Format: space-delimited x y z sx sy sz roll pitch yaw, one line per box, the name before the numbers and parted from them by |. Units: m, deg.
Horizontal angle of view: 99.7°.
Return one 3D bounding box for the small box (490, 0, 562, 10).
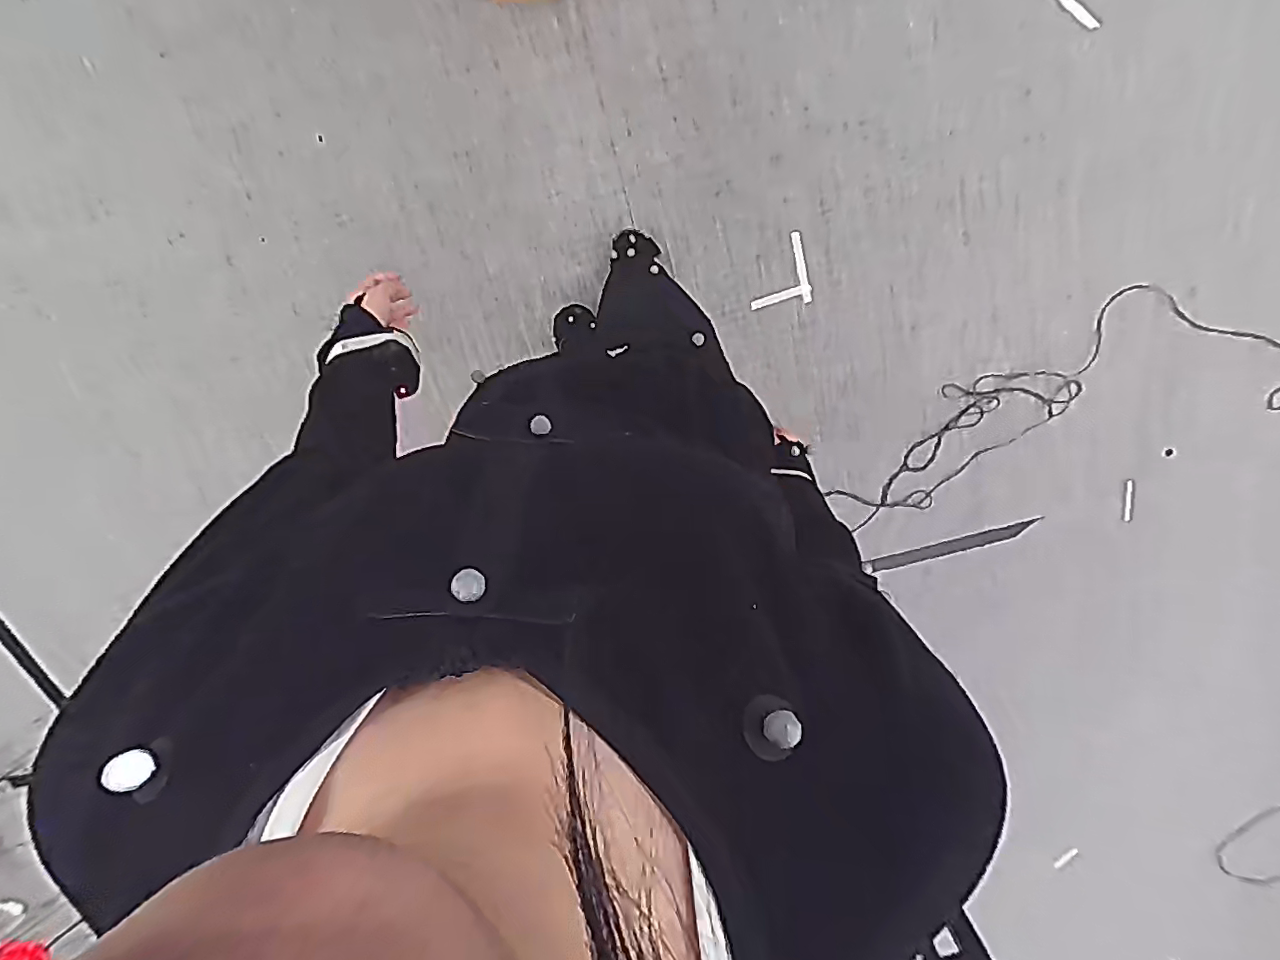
small box | -0.233 -1.064 1.056 0.179 0.176 0.168 -9 111 -1
